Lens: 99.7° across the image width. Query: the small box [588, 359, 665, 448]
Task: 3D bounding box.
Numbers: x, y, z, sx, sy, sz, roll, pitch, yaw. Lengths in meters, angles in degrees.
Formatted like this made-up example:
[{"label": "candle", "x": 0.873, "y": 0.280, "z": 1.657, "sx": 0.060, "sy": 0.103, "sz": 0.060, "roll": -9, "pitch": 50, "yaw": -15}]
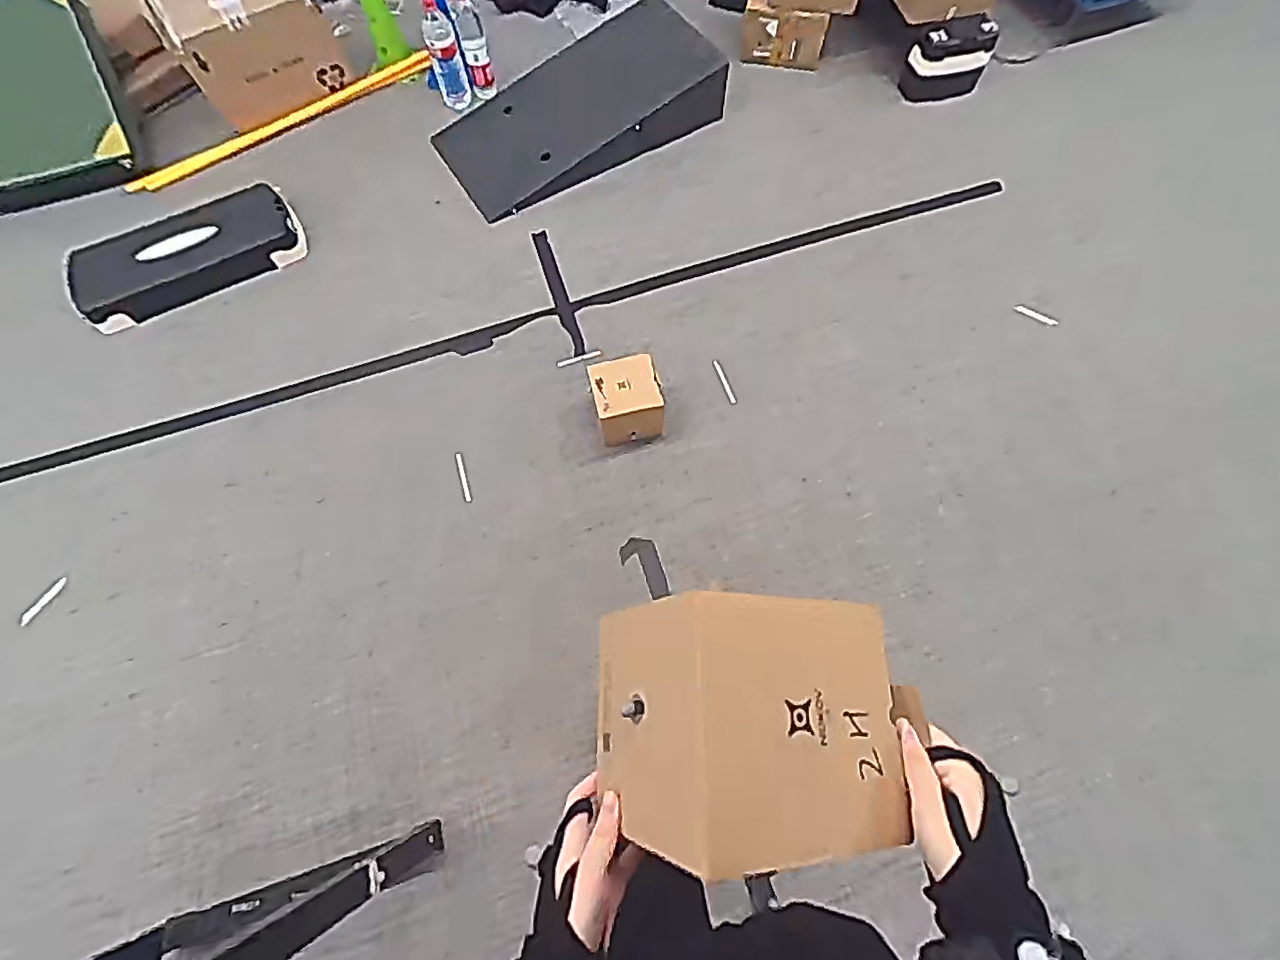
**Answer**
[{"label": "small box", "x": -0.039, "y": -0.205, "z": 1.483, "sx": 0.179, "sy": 0.176, "sz": 0.168, "roll": -12, "pitch": 68, "yaw": -6}]
